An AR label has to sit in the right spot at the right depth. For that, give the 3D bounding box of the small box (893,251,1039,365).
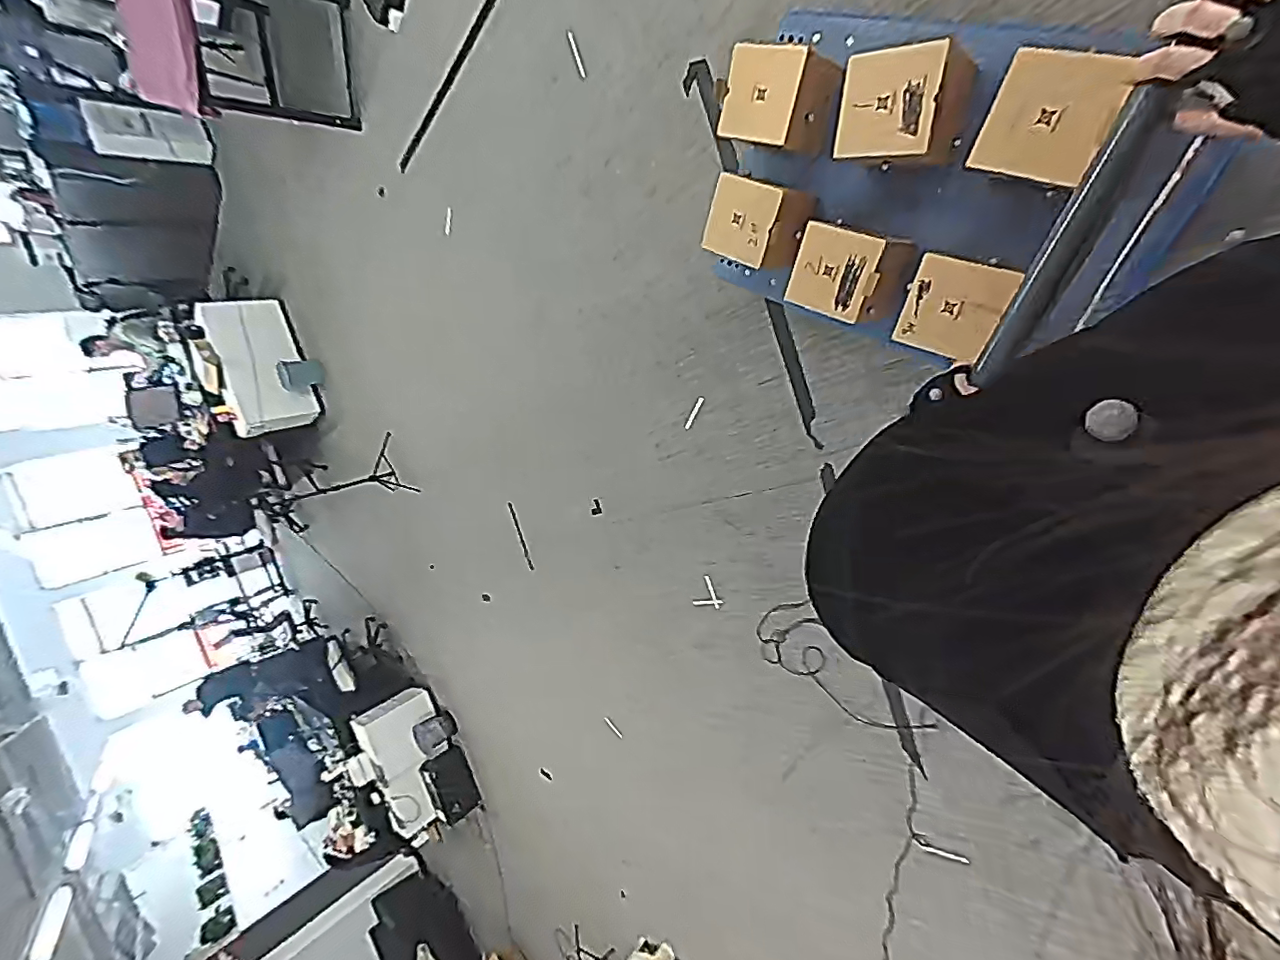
[{"bbox_3d":[0.628,-0.337,1.039,0.179,0.176,0.168,31,125,32],"label":"small box"}]

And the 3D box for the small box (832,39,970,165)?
[{"bbox_3d":[0.494,-0.699,1.021,0.179,0.176,0.168,23,121,37],"label":"small box"}]

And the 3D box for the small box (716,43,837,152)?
[{"bbox_3d":[0.295,-0.817,1.165,0.179,0.176,0.168,31,126,32],"label":"small box"}]

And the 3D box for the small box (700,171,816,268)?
[{"bbox_3d":[0.276,-0.607,1.268,0.179,0.176,0.168,35,128,28],"label":"small box"}]

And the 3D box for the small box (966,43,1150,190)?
[{"bbox_3d":[0.683,-0.586,0.886,0.179,0.176,0.168,35,127,30],"label":"small box"}]
